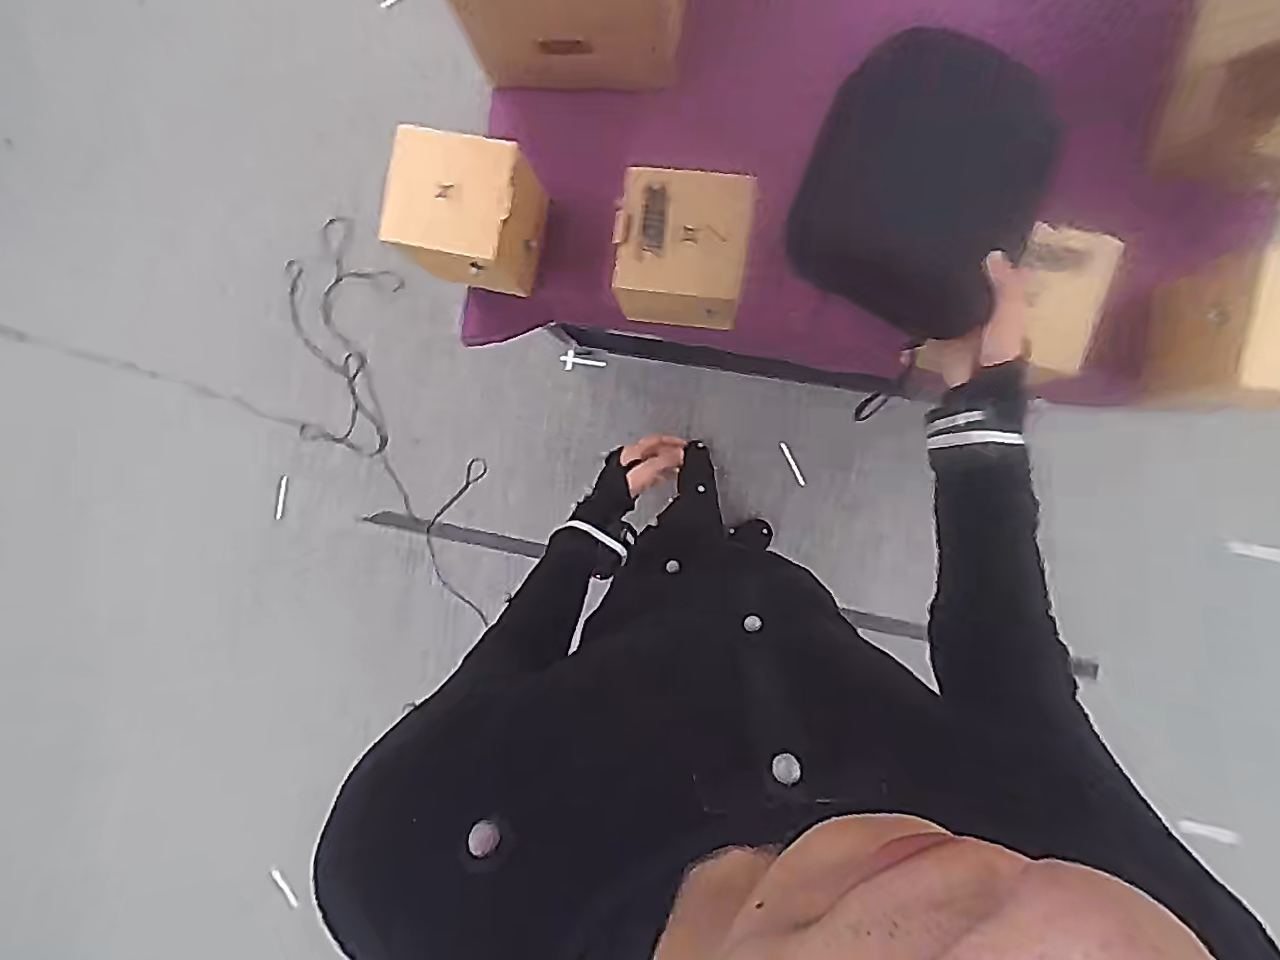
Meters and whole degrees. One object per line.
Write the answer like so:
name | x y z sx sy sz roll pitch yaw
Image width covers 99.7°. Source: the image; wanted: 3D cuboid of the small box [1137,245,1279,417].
small box | 0.832 -0.189 0.731 0.168 0.176 0.179 10 93 7

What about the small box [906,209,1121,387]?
small box | 0.506 -0.243 0.764 0.168 0.176 0.179 17 96 5

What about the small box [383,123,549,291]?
small box | -0.258 -0.408 0.836 0.179 0.176 0.168 12 94 4
